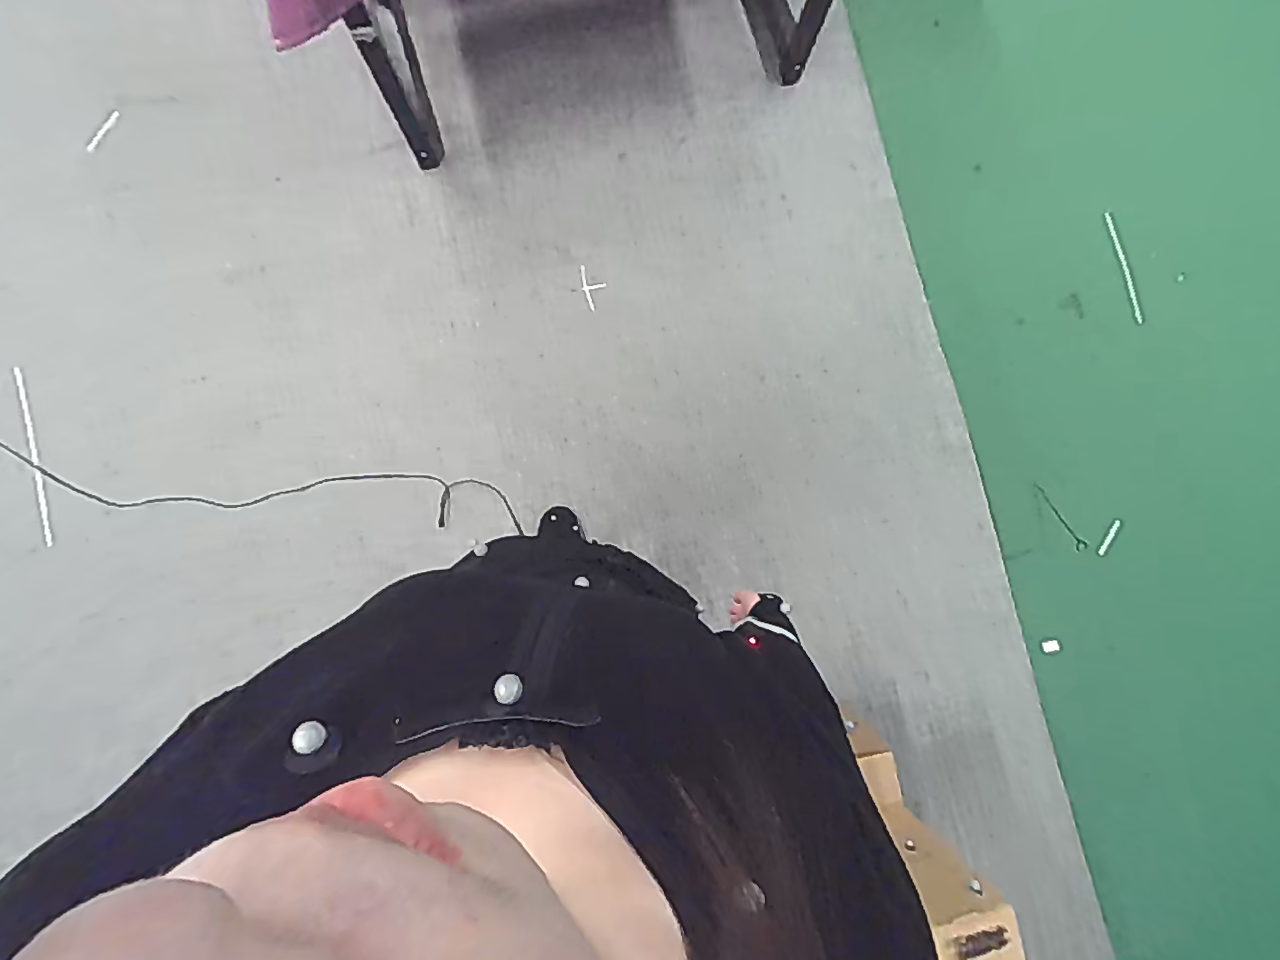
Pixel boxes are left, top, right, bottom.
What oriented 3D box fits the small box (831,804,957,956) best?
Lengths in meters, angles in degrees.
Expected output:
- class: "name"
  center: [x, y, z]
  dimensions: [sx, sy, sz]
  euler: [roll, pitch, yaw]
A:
- class: "small box"
  center: [0.509, 0.805, 1.103]
  dimensions: [0.168, 0.176, 0.179]
  euler: [-7, 88, -5]
